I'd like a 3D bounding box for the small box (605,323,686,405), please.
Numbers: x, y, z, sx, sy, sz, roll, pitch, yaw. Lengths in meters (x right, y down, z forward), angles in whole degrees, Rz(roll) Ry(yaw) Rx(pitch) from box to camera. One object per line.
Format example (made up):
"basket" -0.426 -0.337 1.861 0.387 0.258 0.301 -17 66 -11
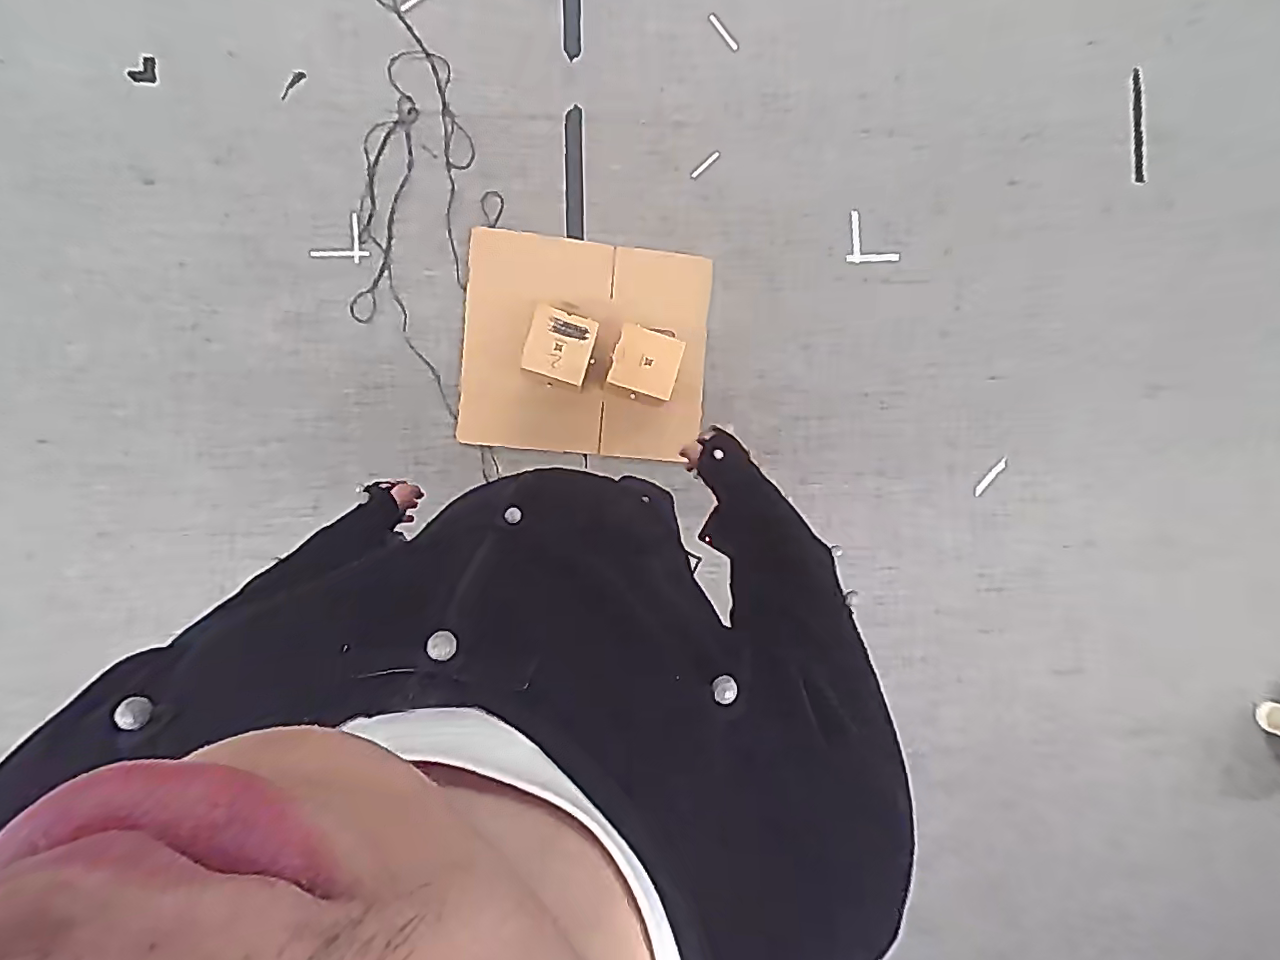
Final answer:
"small box" 0.010 -0.315 1.513 0.179 0.176 0.168 17 89 -6
